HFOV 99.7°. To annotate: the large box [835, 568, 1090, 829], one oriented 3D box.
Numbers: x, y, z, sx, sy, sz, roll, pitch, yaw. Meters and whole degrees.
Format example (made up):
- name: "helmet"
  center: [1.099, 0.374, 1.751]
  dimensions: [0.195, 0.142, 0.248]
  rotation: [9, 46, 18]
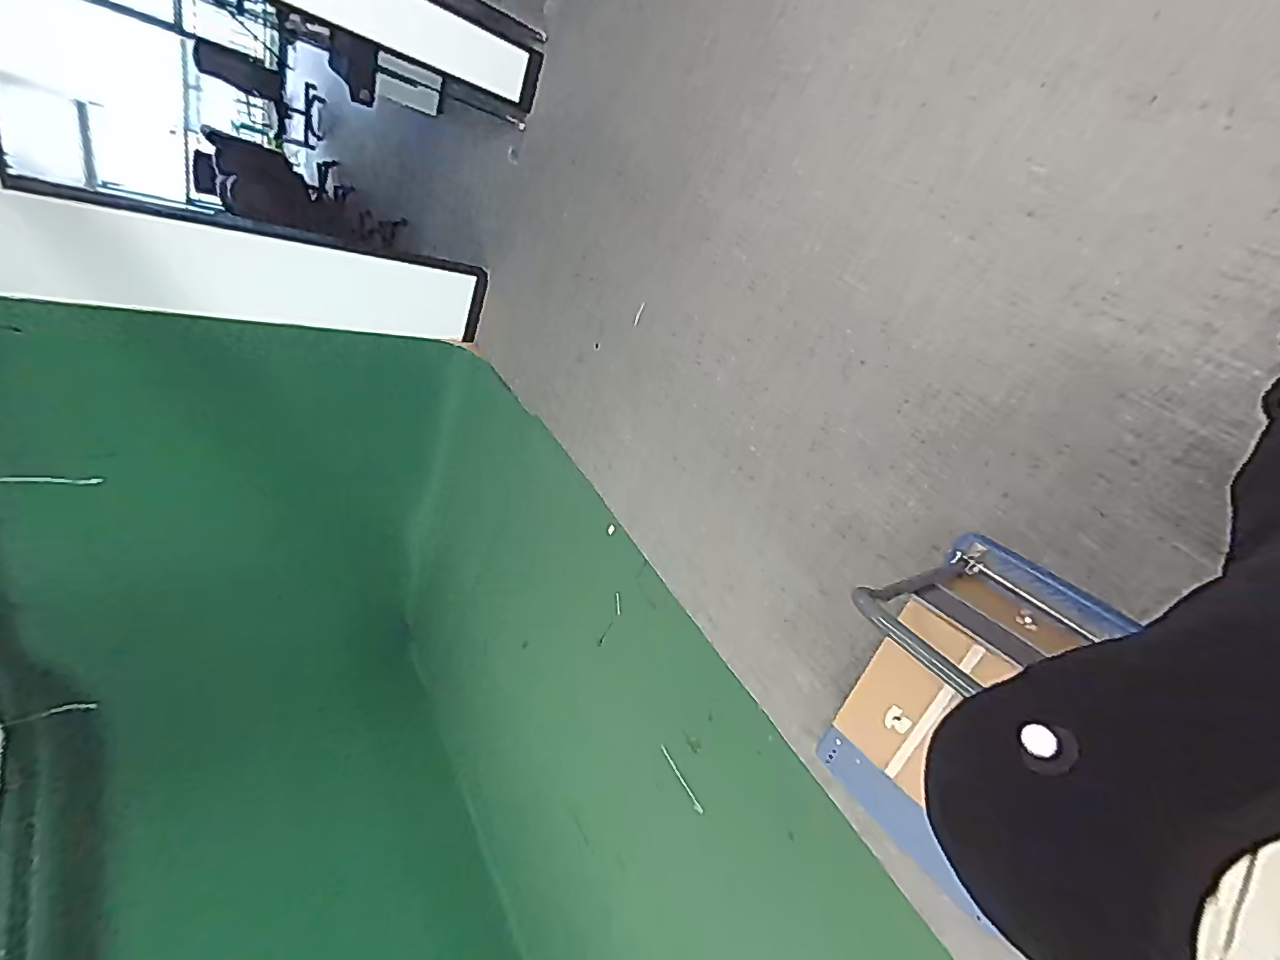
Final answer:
- name: "large box"
  center: [0.728, 0.471, 1.240]
  dimensions: [0.320, 0.320, 0.408]
  rotation: [38, 121, 39]
